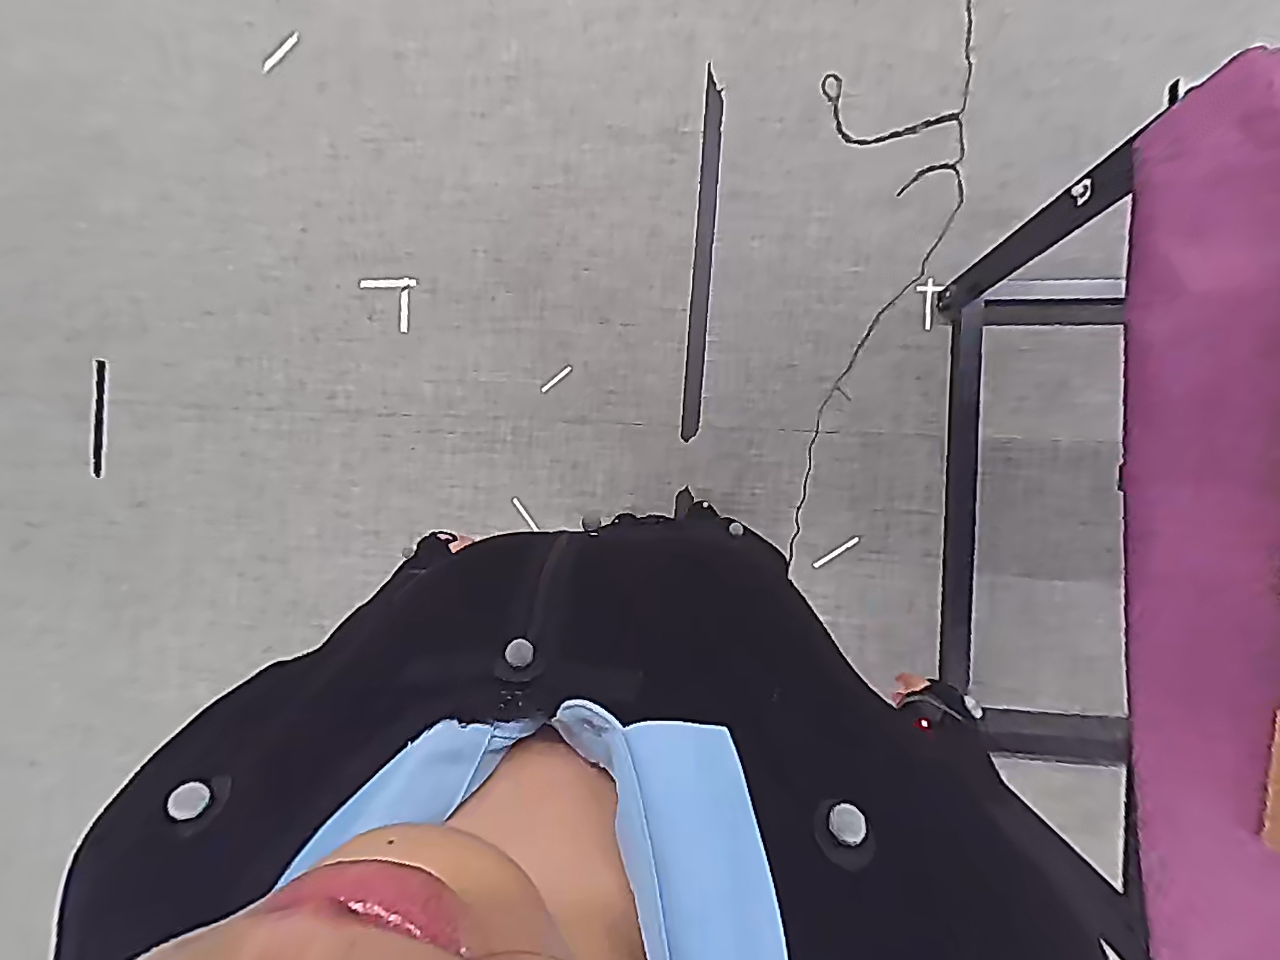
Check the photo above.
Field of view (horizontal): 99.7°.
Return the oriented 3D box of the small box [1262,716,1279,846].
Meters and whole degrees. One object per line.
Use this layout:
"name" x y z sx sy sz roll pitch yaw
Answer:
"small box" 0.863 0.376 0.596 0.168 0.176 0.179 6 90 4
